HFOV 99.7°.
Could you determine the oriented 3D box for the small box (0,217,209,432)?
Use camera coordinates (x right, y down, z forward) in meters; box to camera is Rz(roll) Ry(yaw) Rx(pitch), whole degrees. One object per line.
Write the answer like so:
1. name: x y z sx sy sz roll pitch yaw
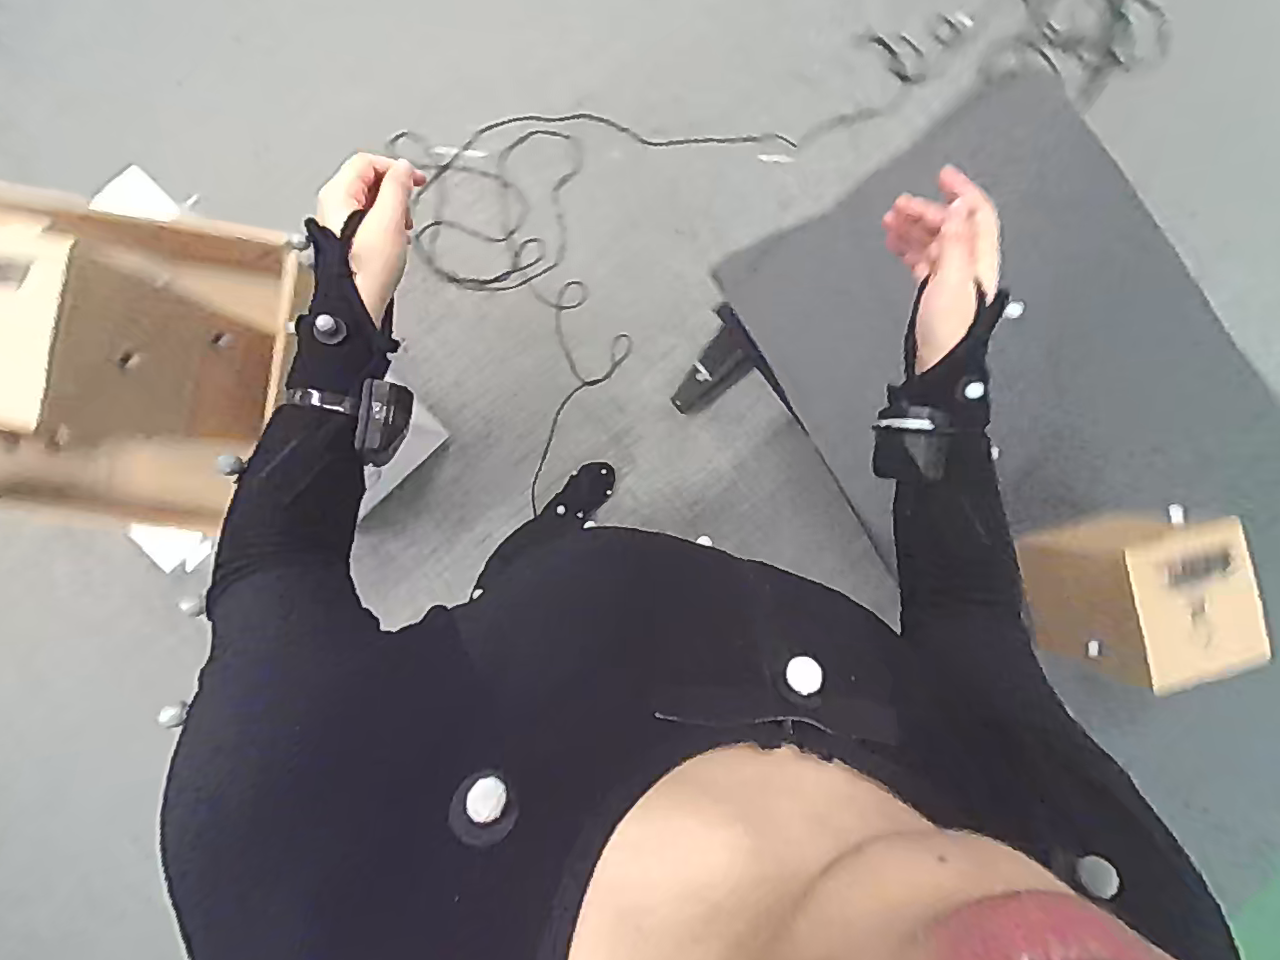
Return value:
1. small box: -0.610 -0.157 0.576 0.168 0.176 0.179 11 90 -1
